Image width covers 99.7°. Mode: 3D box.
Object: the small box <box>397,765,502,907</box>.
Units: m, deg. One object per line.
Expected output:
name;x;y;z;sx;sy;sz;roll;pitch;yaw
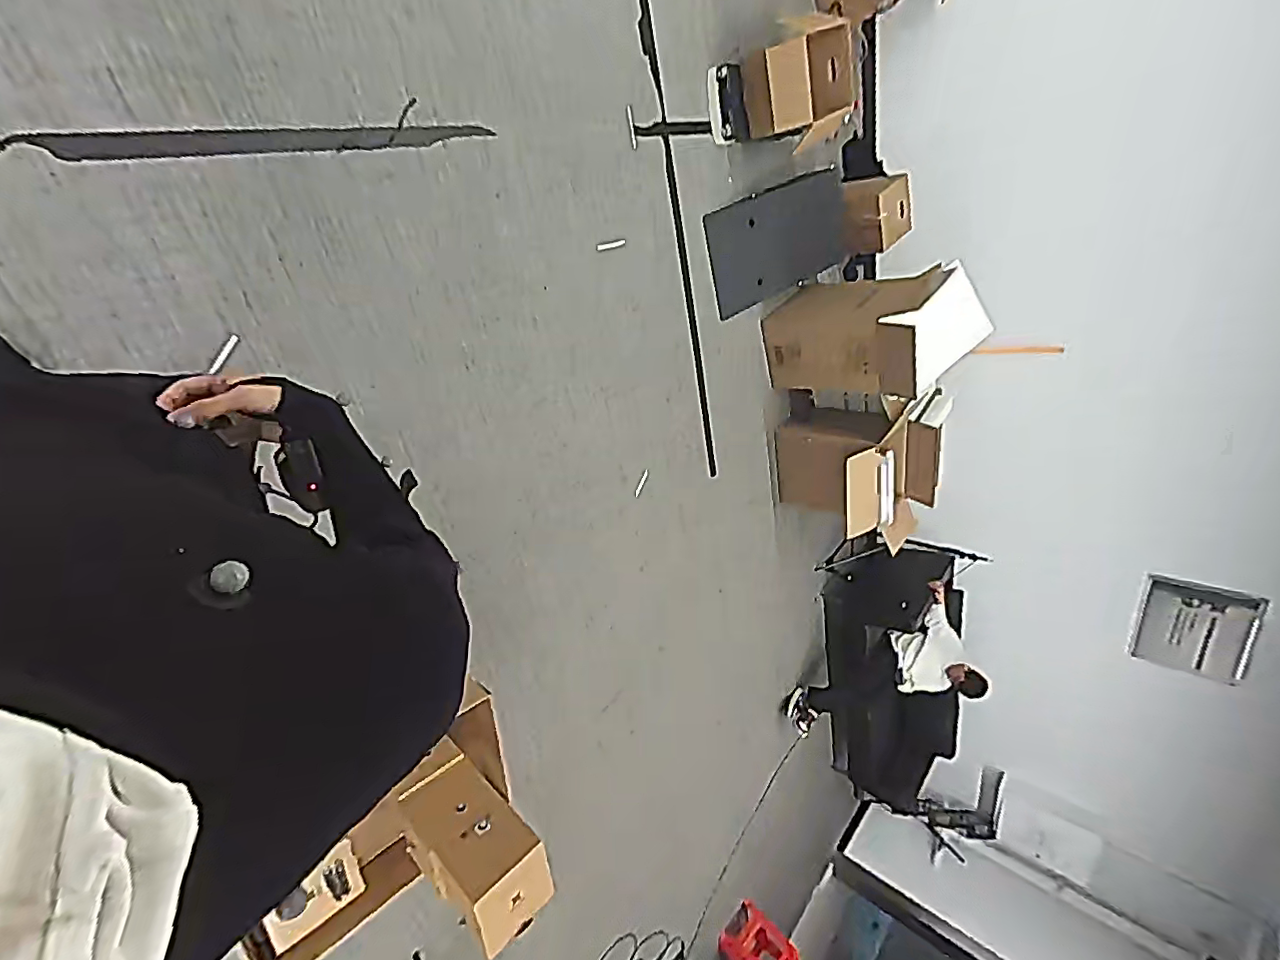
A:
small box;-0.428;0.802;1.243;0.179;0.176;0.168;-22;117;-41

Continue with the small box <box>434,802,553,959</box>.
small box;-0.307;0.832;1.136;0.168;0.176;0.179;-25;120;-41

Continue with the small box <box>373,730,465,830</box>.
small box;-0.543;0.761;1.353;0.168;0.176;0.179;-24;118;-40
